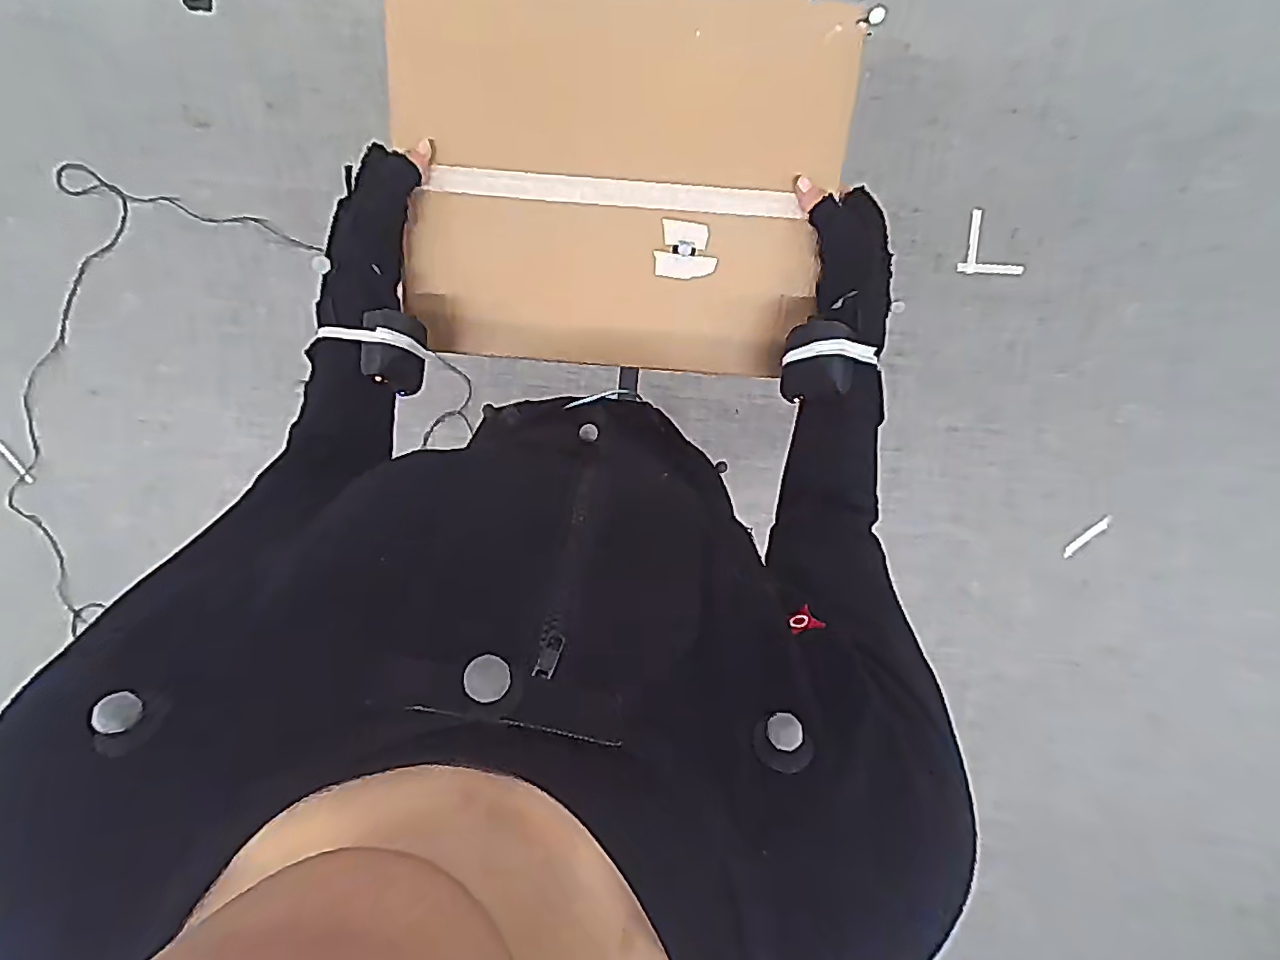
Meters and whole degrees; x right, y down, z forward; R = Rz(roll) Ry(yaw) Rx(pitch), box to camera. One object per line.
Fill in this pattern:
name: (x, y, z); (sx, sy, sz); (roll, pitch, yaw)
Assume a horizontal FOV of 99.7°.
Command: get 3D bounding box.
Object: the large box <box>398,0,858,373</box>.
large box: (-0.019, -0.313, 0.650); (0.408, 0.320, 0.320); (4, 110, -2)
